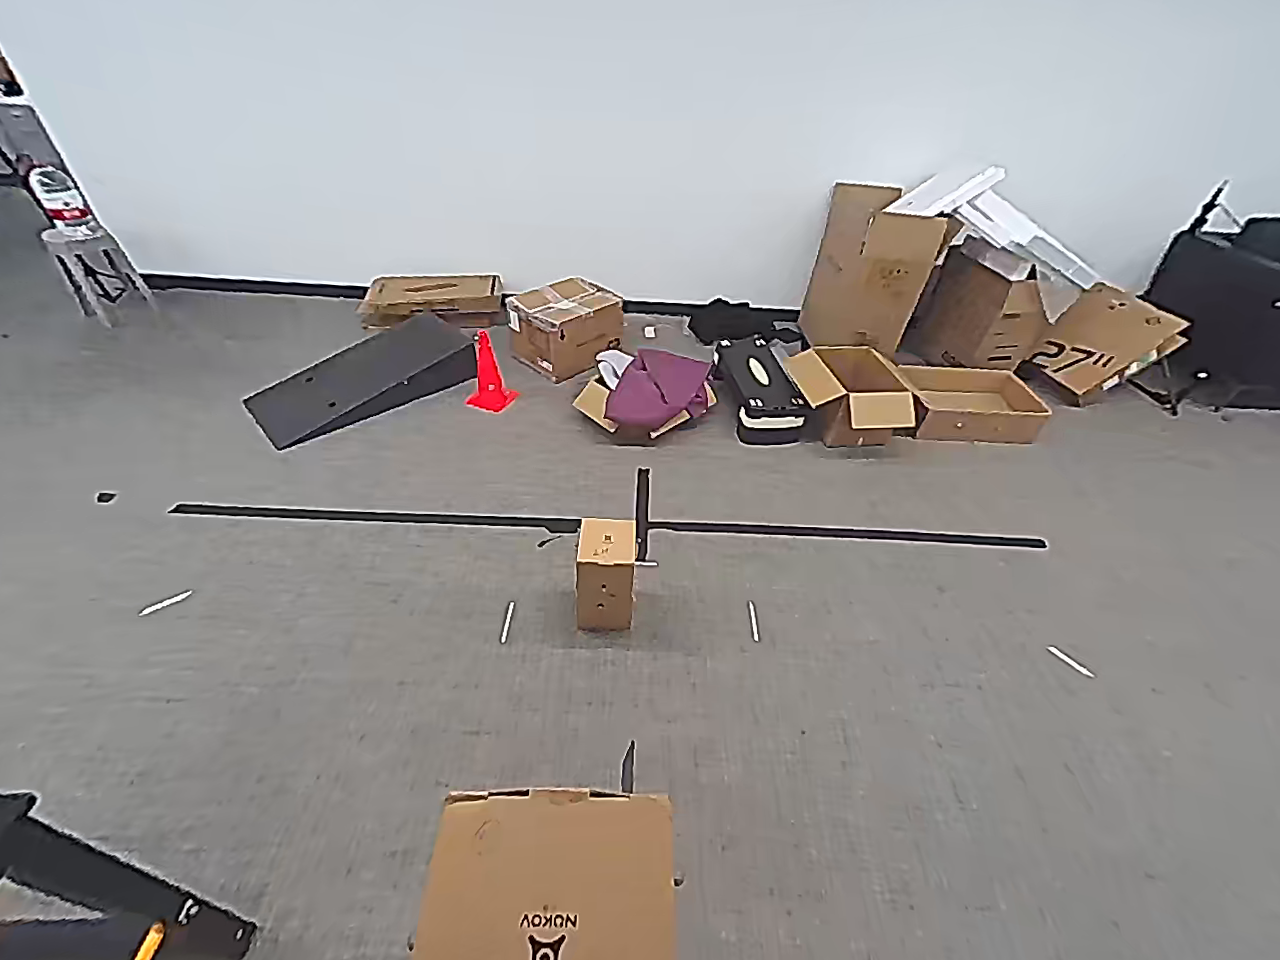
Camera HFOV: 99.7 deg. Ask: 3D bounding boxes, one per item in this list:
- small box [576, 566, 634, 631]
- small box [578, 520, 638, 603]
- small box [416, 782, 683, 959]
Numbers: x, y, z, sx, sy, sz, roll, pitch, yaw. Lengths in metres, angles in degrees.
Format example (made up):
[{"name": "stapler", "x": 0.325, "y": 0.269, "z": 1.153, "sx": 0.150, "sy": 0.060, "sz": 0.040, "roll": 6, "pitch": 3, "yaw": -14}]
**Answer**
[{"name": "small box", "x": -0.111, "y": 0.368, "z": 1.730, "sx": 0.179, "sy": 0.176, "sz": 0.168, "roll": 1, "pitch": 41, "yaw": -4}, {"name": "small box", "x": -0.096, "y": 0.244, "z": 1.622, "sx": 0.168, "sy": 0.176, "sz": 0.179, "roll": 3, "pitch": 41, "yaw": -1}, {"name": "small box", "x": -0.059, "y": 0.339, "z": 0.396, "sx": 0.168, "sy": 0.176, "sz": 0.179, "roll": 2, "pitch": 50, "yaw": -2}]
